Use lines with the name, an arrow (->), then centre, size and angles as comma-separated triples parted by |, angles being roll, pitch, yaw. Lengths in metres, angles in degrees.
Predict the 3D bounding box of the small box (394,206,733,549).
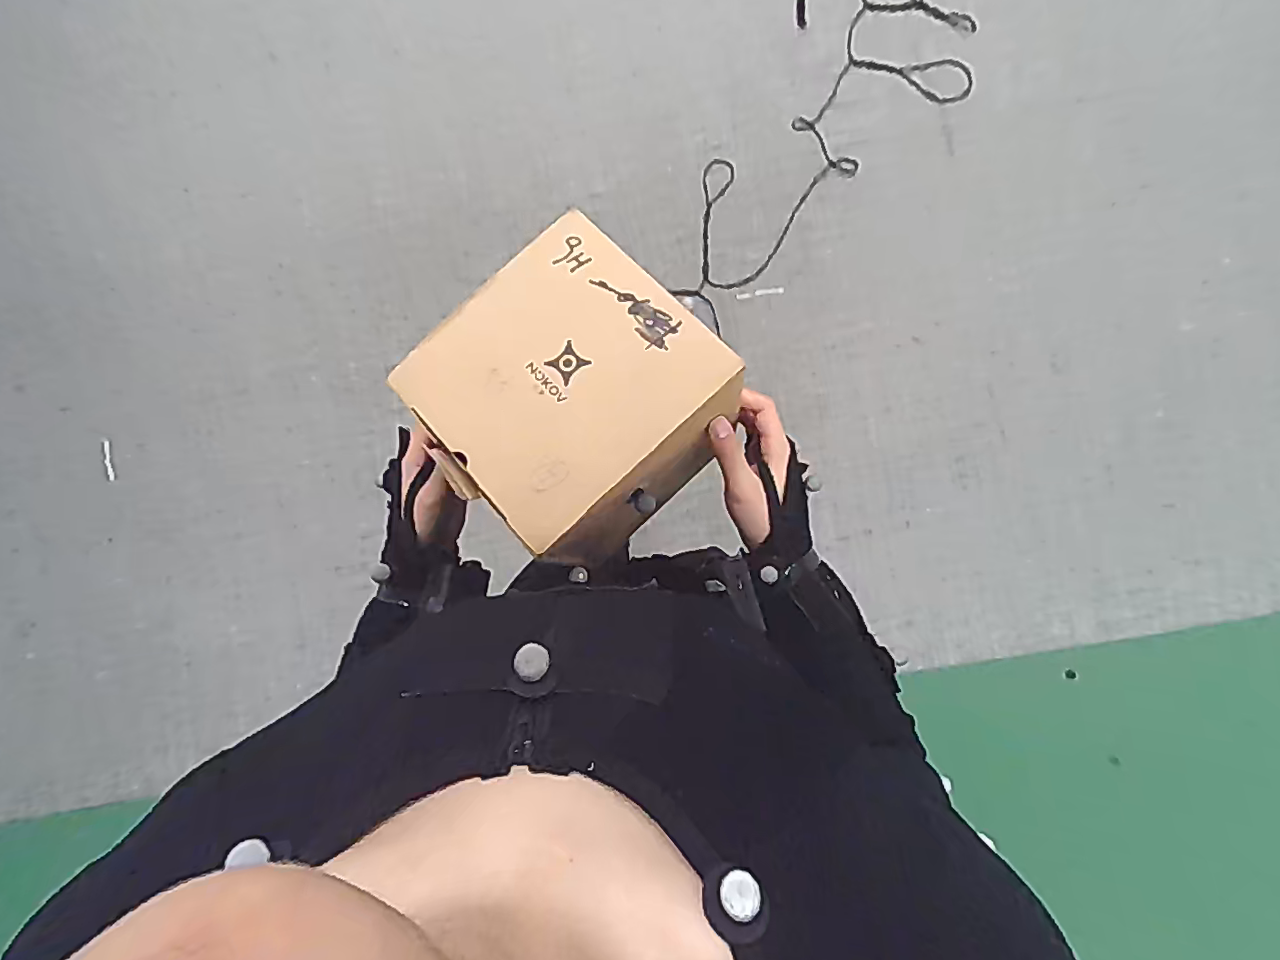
small box -> -0.043, -0.060, 0.430 | 0.179, 0.176, 0.168 | -43, 77, -2
